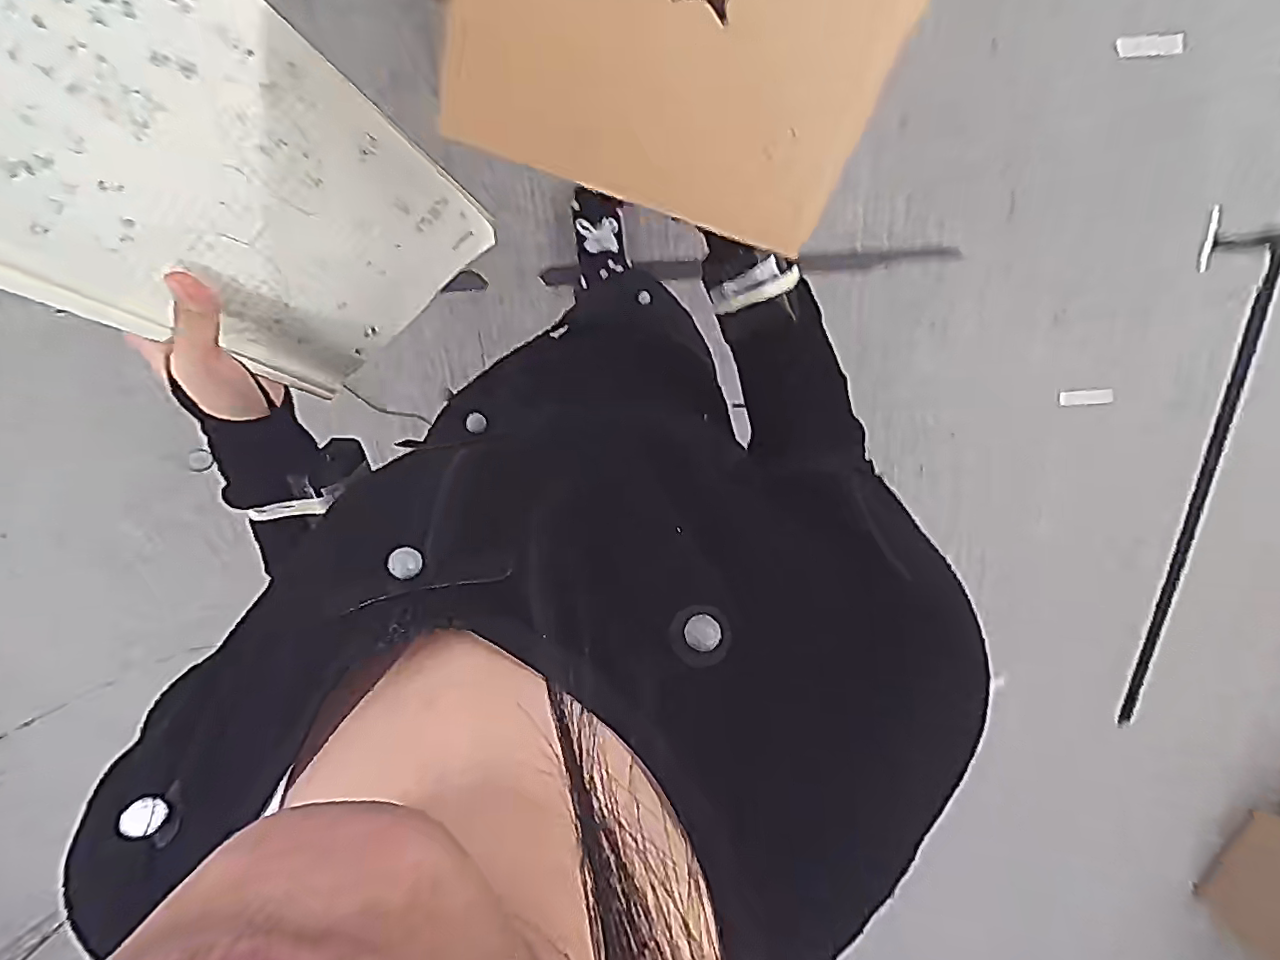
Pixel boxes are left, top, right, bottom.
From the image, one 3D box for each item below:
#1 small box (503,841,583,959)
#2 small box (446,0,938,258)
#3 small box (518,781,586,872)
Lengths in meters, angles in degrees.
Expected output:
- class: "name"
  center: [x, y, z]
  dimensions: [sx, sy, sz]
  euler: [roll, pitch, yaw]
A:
- class: "small box"
  center: [-0.229, 1.009, 1.312]
  dimensions: [0.168, 0.176, 0.179]
  euler: [-1, 109, -1]
- class: "small box"
  center: [0.019, -0.236, 0.242]
  dimensions: [0.168, 0.176, 0.179]
  euler: [10, 128, -20]
- class: "small box"
  center: [-0.234, 0.943, 1.462]
  dimensions: [0.168, 0.176, 0.179]
  euler: [1, 111, -3]
